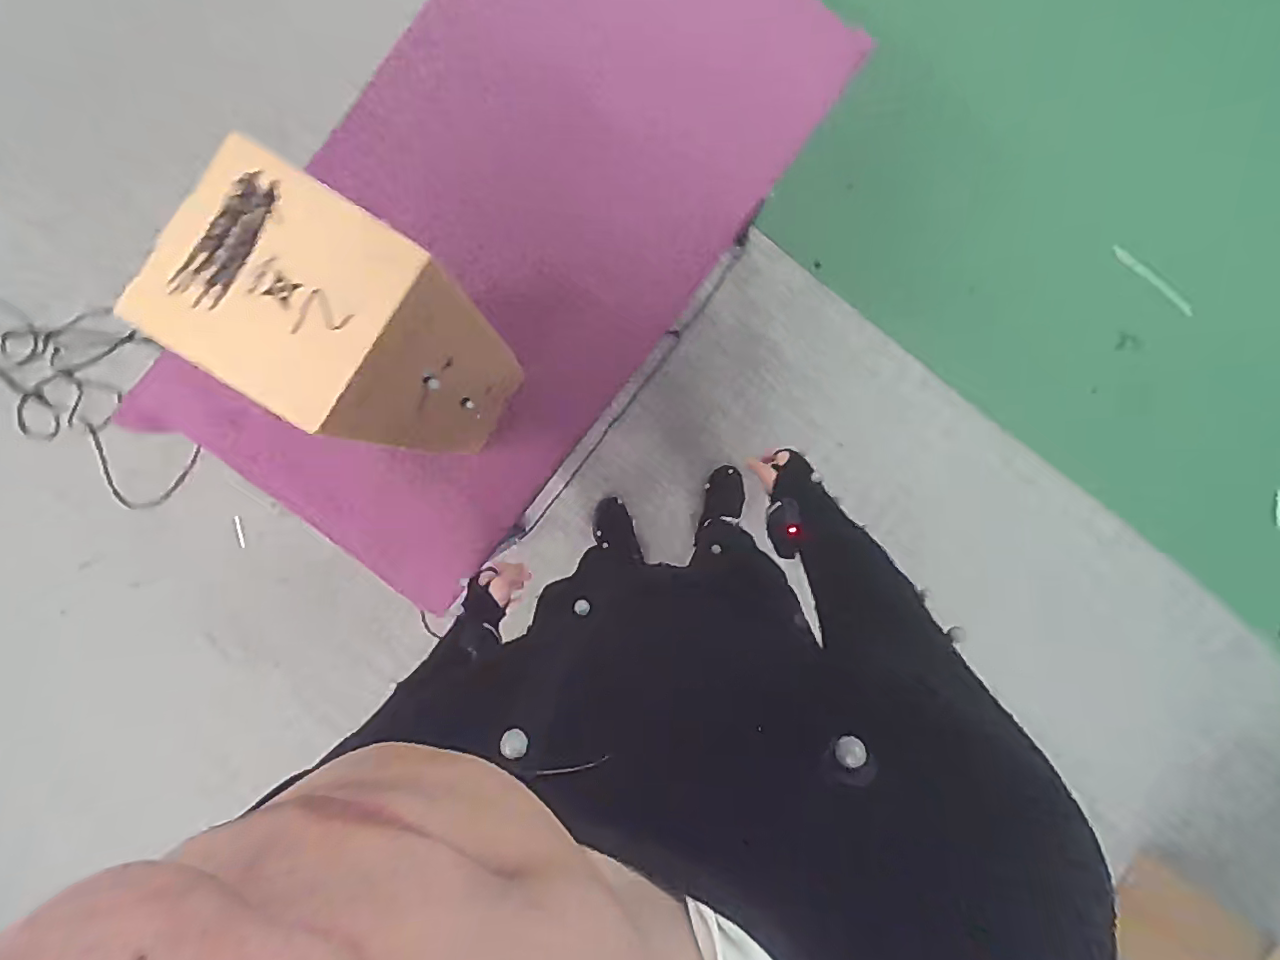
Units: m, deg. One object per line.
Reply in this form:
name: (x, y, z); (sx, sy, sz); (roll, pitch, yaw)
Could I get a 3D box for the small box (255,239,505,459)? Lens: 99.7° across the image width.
small box: (-0.284, -0.137, 0.639); (0.179, 0.176, 0.168); (32, 88, -2)

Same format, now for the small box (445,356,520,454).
small box: (-0.305, -0.147, 0.804); (0.179, 0.176, 0.168); (31, 90, -1)
